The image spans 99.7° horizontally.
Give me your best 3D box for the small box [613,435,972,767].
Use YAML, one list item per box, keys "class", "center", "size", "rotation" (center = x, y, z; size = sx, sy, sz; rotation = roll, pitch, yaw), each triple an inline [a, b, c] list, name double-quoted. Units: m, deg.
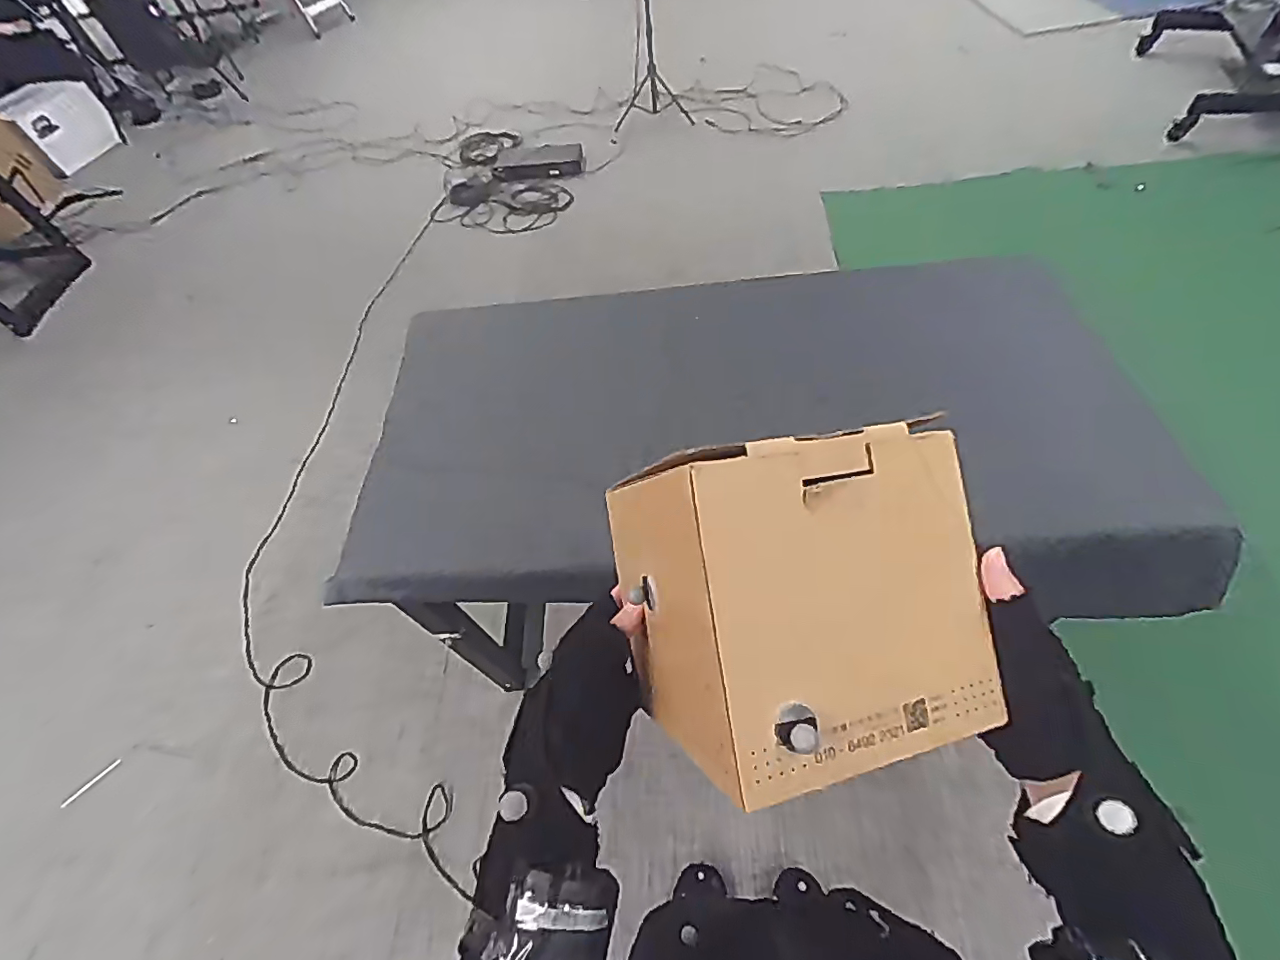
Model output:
- class: "small box"
  center: [0.089, 0.075, 0.375]
  size: [0.168, 0.179, 0.176]
  rotation: [-7, 84, -17]
